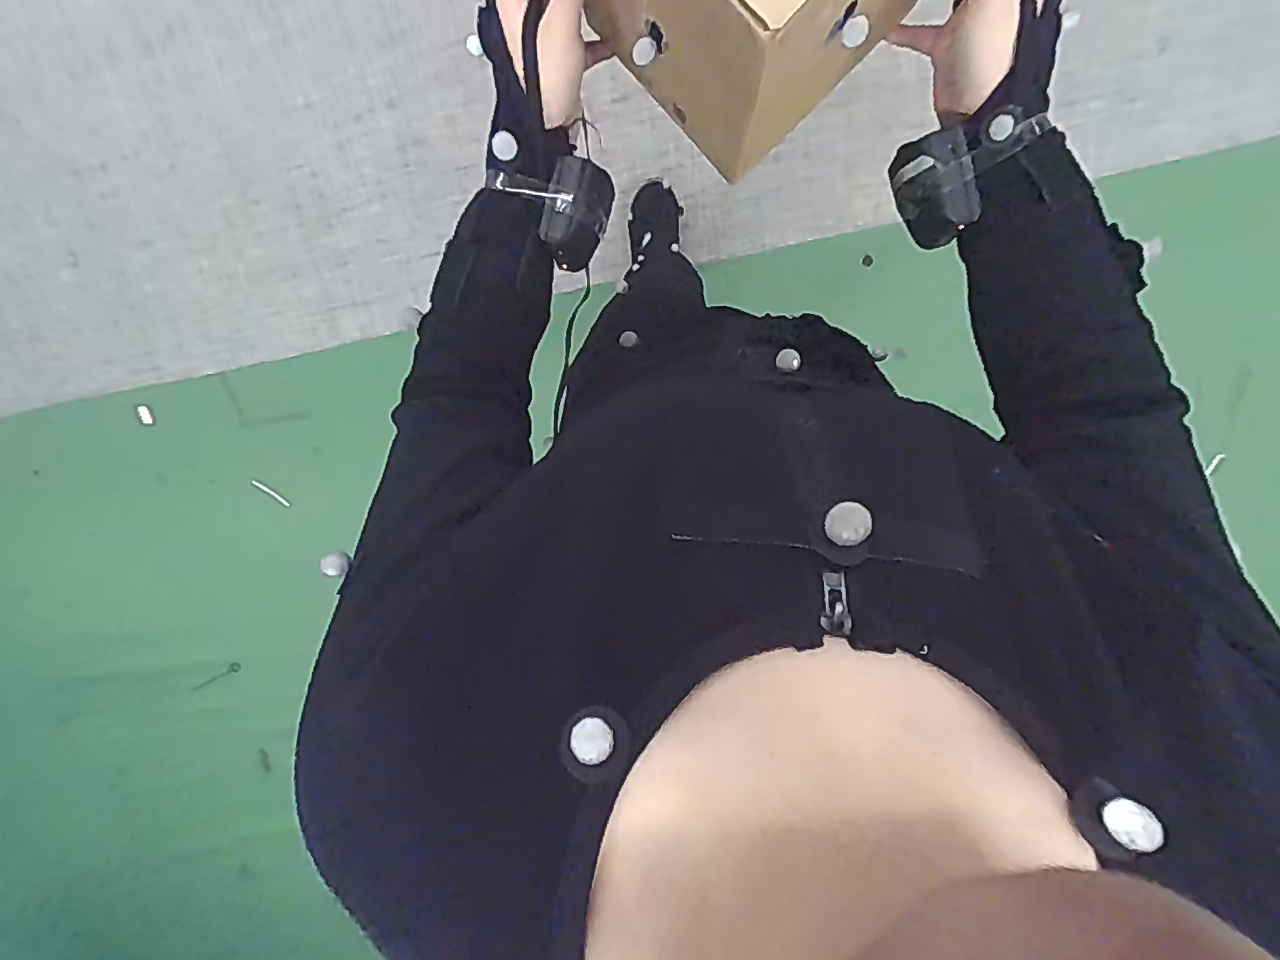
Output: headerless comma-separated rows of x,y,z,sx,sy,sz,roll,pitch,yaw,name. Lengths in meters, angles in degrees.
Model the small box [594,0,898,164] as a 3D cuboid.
0.069,-0.336,0.319,0.179,0.176,0.168,-43,93,9,small box
